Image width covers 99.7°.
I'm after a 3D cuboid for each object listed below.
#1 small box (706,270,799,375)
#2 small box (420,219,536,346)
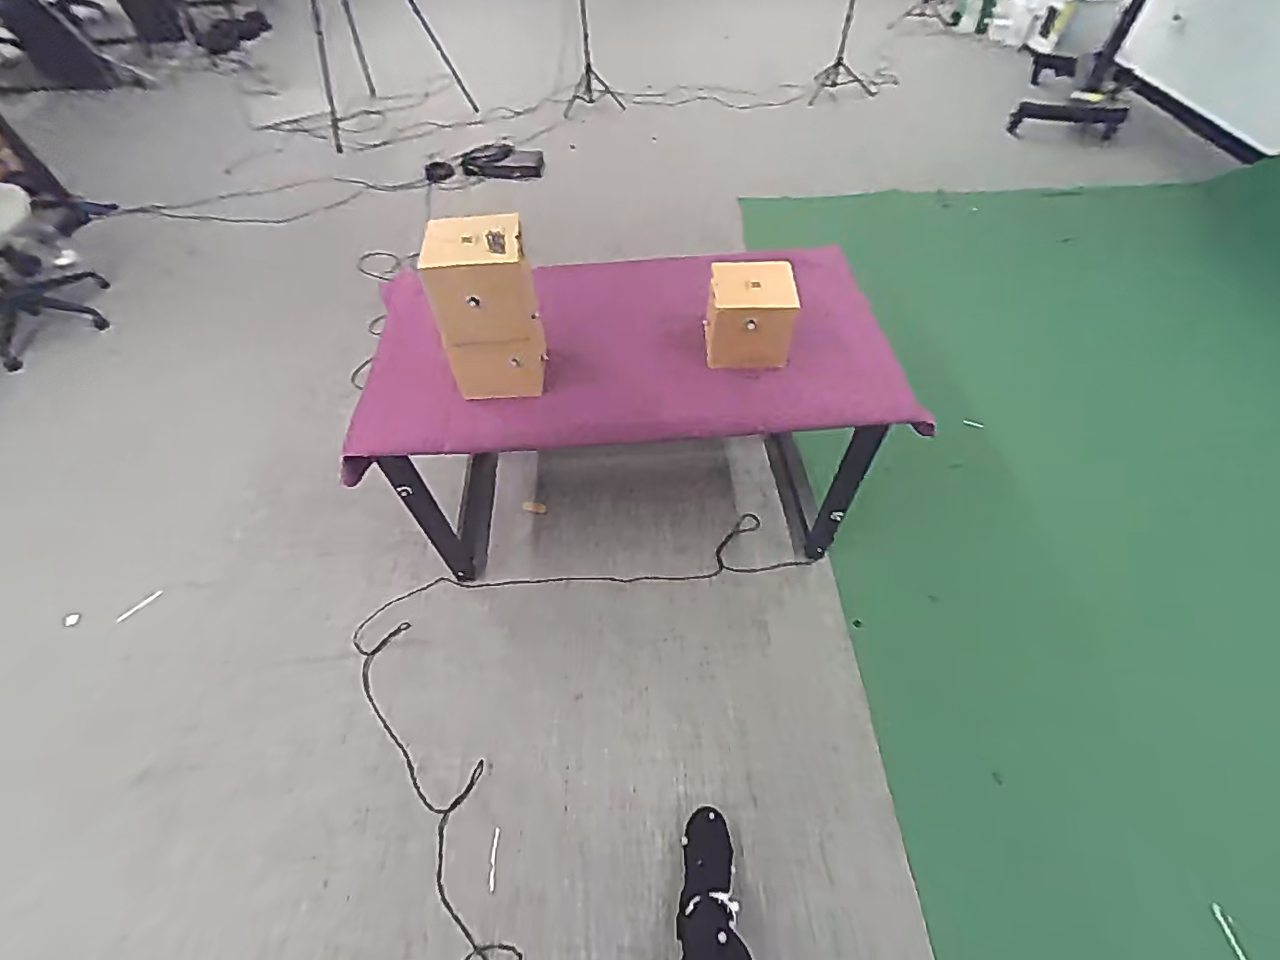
[{"bbox_3d":[0.247,-0.352,1.226,0.179,0.176,0.168,1,54,2],"label":"small box"},{"bbox_3d":[-0.298,-0.377,1.042,0.179,0.176,0.168,-5,54,-3],"label":"small box"}]
